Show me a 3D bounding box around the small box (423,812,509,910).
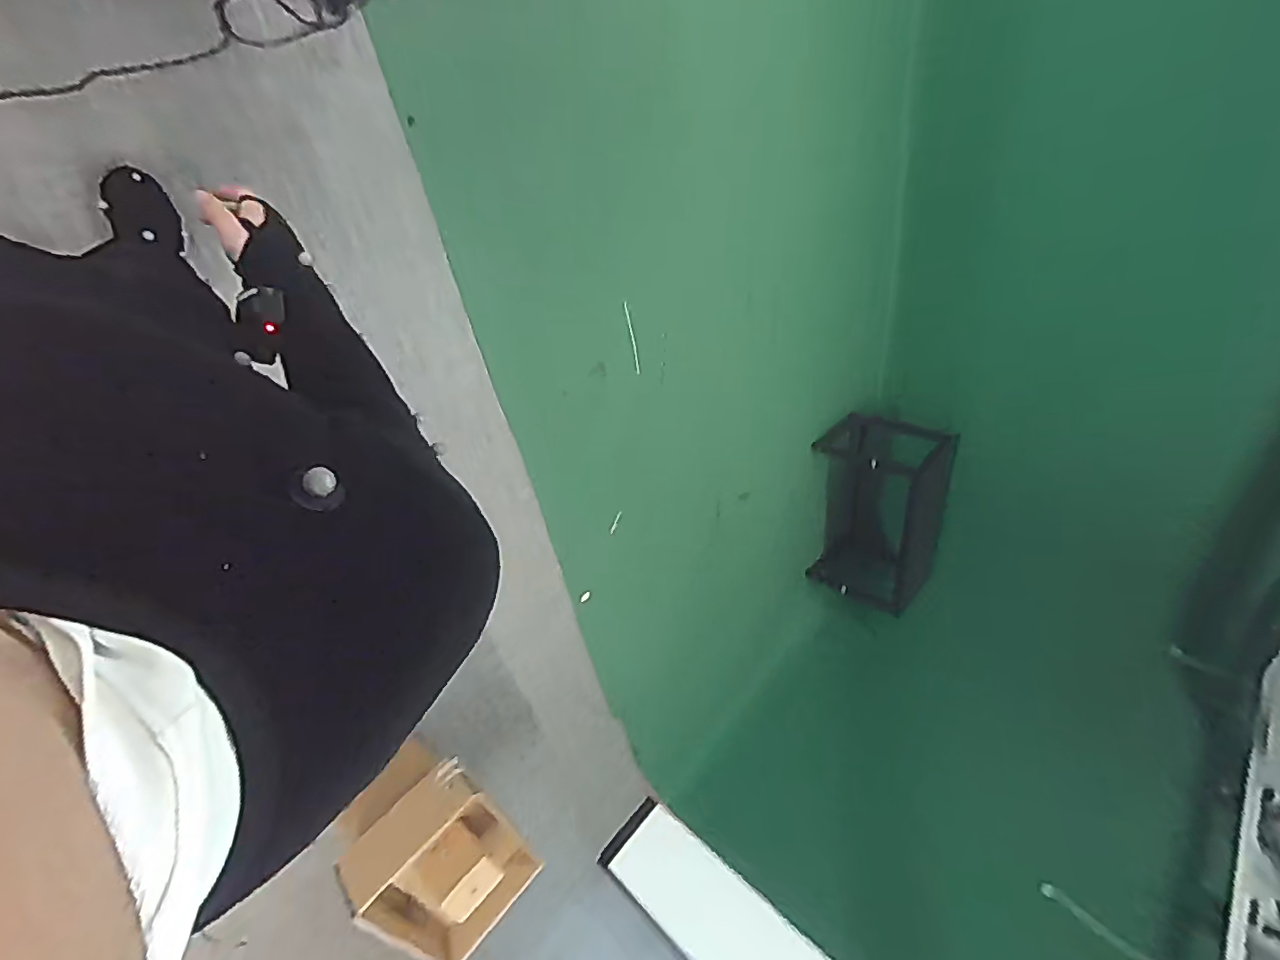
[{"bbox_3d":[-0.552,1.204,1.717,0.168,0.176,0.179,-40,134,-30],"label":"small box"}]
